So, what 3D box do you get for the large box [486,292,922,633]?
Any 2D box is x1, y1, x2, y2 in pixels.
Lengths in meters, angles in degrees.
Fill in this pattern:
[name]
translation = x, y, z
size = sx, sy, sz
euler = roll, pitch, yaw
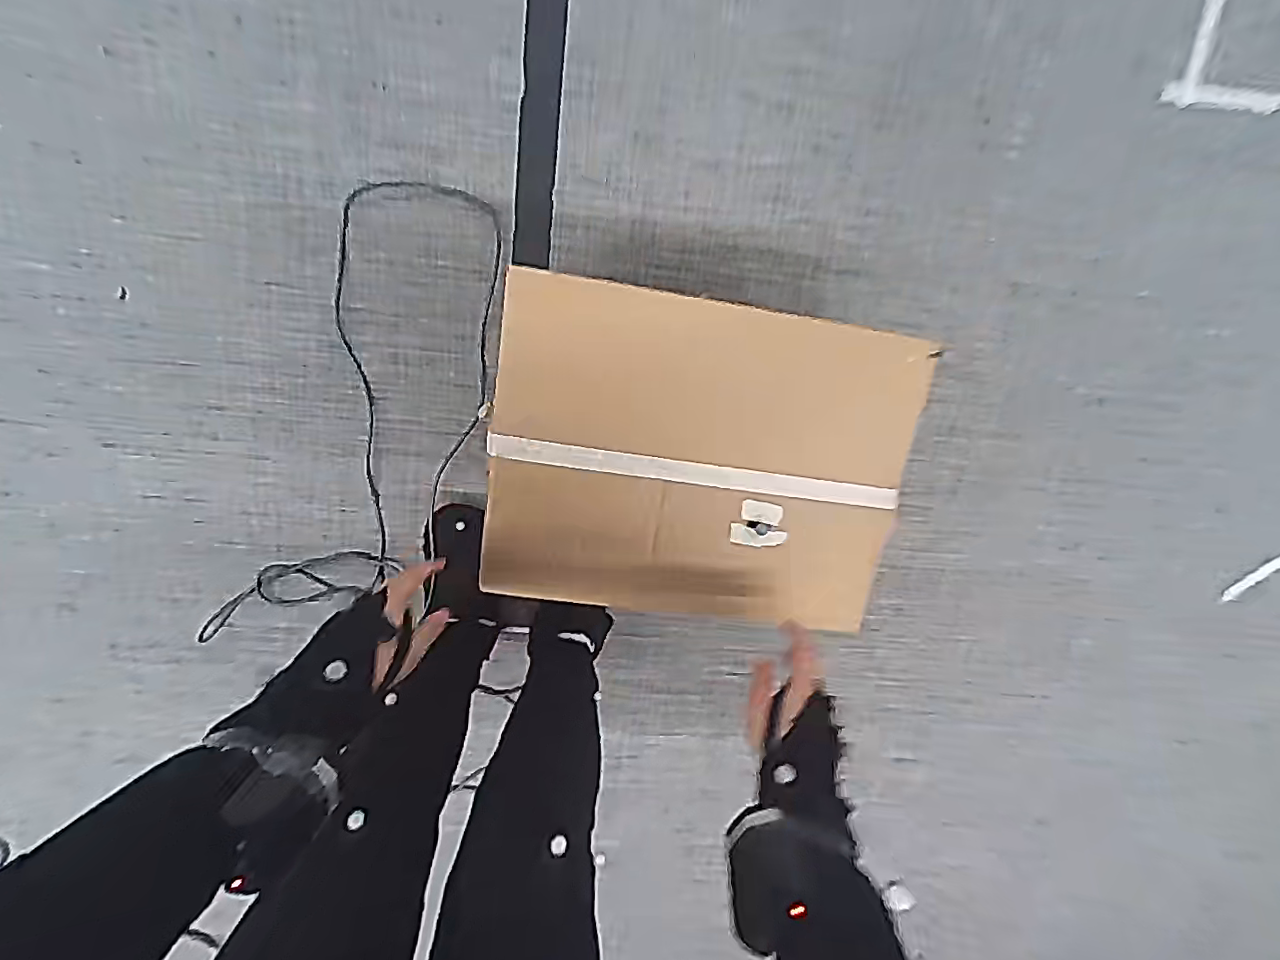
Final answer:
[large box]
translation = 0.044, -0.037, 0.680
size = 0.408, 0.320, 0.320
euler = 8, 106, -8
